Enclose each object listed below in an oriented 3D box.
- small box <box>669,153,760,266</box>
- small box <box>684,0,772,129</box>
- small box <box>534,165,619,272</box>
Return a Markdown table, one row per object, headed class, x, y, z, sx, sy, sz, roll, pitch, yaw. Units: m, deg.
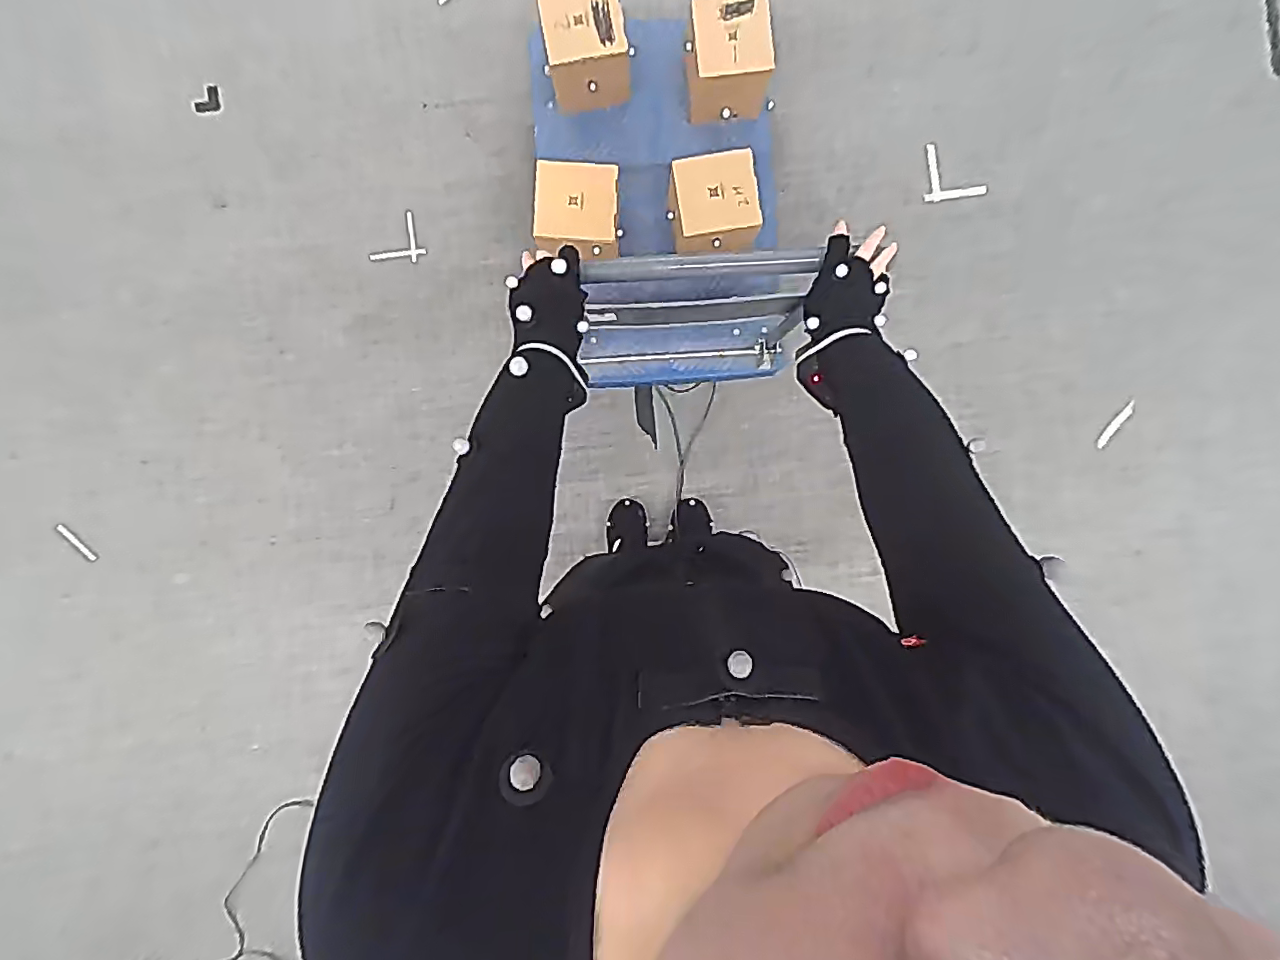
| class | x | y | z | sx | sy | sz | roll | pitch | yaw |
| --- | --- | --- | --- | --- | --- | --- | --- | --- | --- |
| small box | 0.163 | -0.613 | 1.248 | 0.179 | 0.176 | 0.168 | -9 | 91 | 0 |
| small box | 0.195 | -0.952 | 1.243 | 0.168 | 0.176 | 0.179 | -6 | 92 | 0 |
| small box | -0.140 | -0.594 | 1.245 | 0.179 | 0.176 | 0.168 | 2 | 90 | -2 |
